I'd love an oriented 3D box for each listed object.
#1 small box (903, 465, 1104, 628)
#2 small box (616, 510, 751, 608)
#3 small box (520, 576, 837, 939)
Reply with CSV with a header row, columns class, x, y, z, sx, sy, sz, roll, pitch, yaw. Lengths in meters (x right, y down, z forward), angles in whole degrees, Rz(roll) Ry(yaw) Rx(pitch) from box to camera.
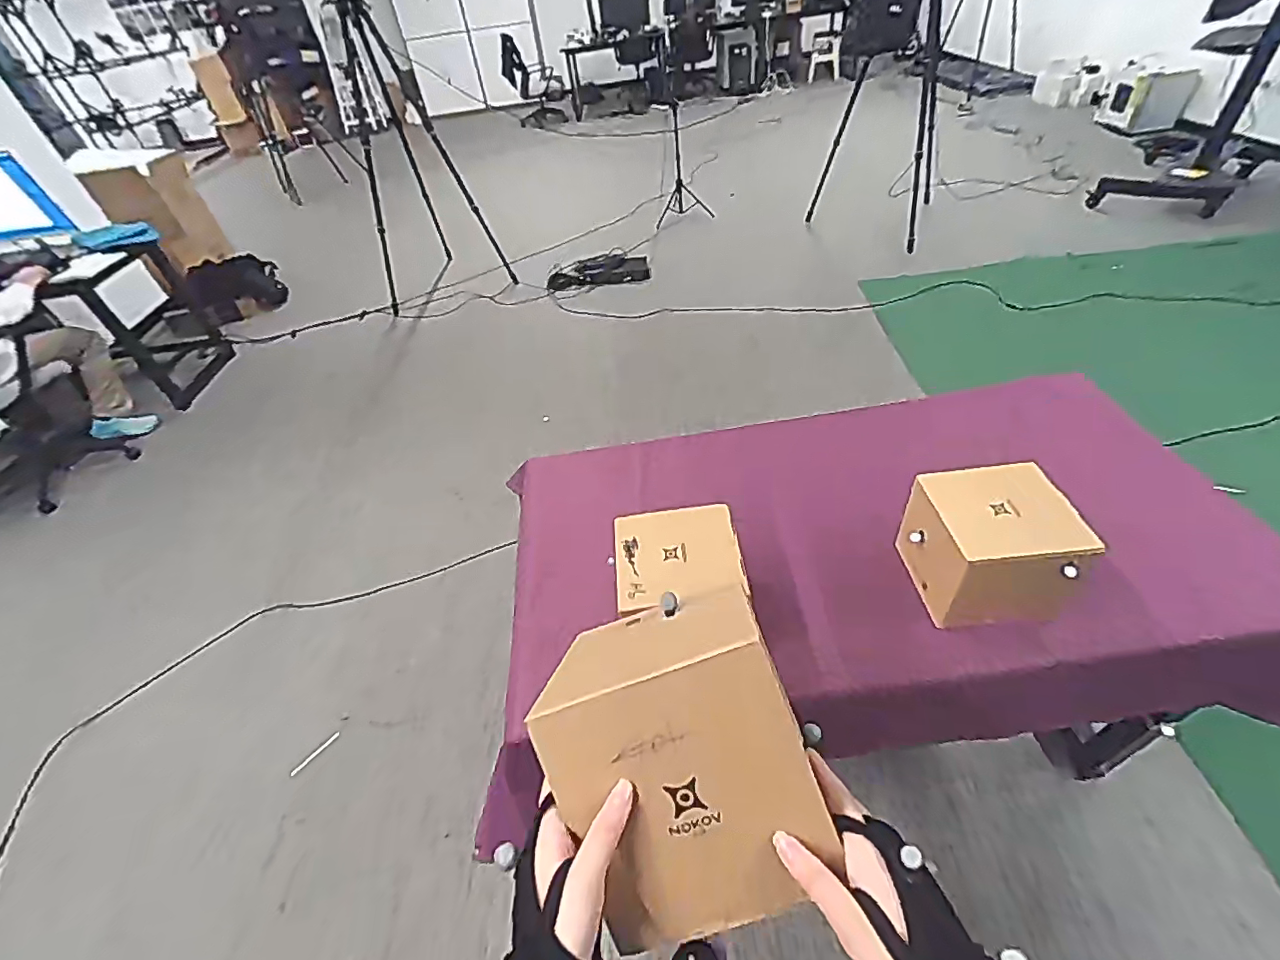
class,x,y,z,sx,sy,sz,roll,pitch,yaw
small box,0.509,0.102,0.796,0.179,0.176,0.168,-7,43,3
small box,0.061,0.168,0.810,0.179,0.176,0.168,-7,43,2
small box,0.033,0.197,0.431,0.168,0.179,0.176,-20,0,7
